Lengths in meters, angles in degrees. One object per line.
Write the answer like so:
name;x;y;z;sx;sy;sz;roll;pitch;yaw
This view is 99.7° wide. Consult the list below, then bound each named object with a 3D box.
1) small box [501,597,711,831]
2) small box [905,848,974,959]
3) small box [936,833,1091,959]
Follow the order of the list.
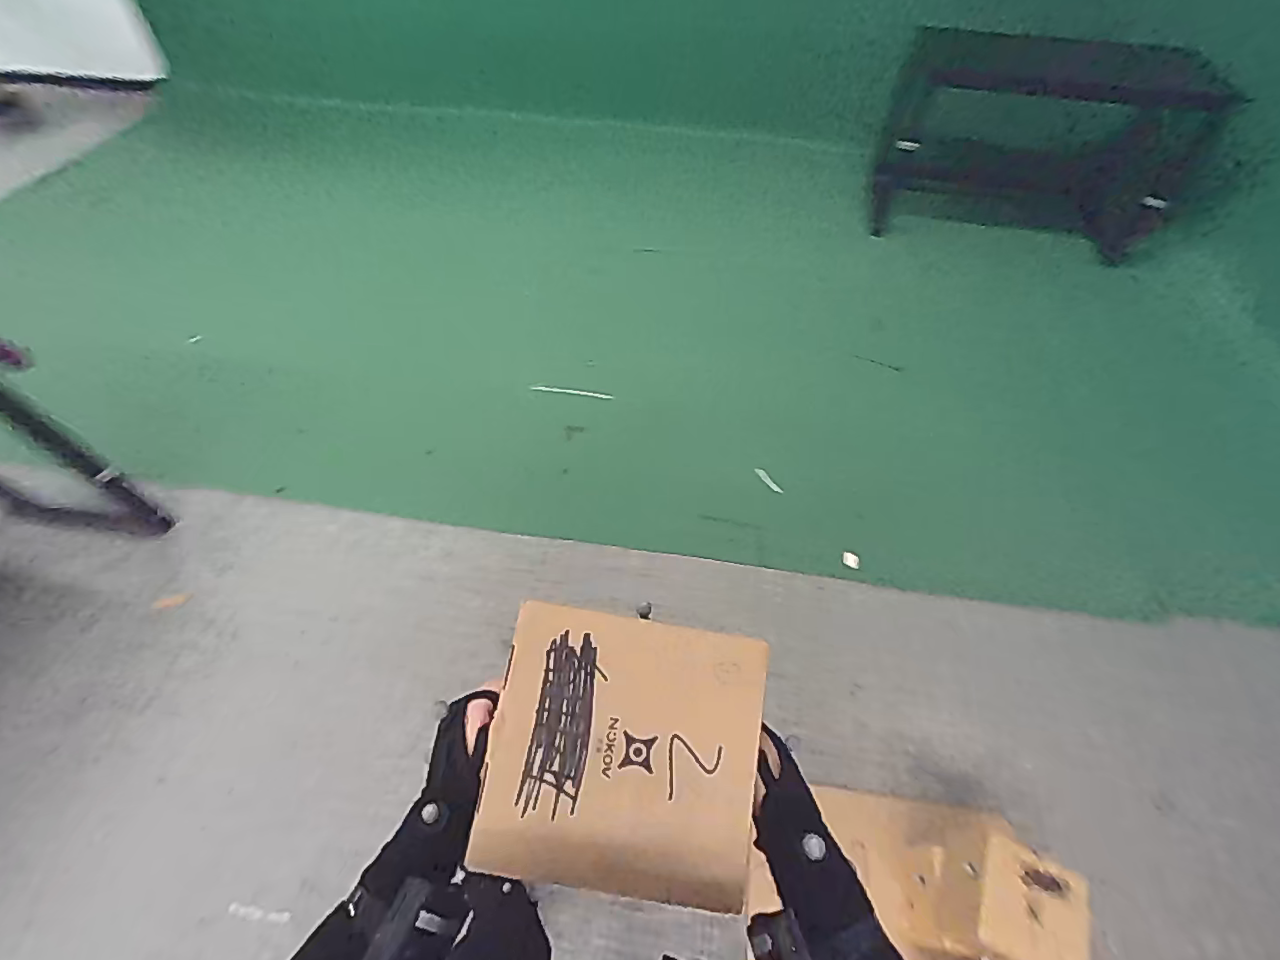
small box;-0.032;0.237;0.587;0.168;0.176;0.179;14;74;0
small box;0.658;0.870;1.099;0.179;0.176;0.168;10;54;5
small box;0.659;0.771;0.967;0.168;0.176;0.179;24;57;15
